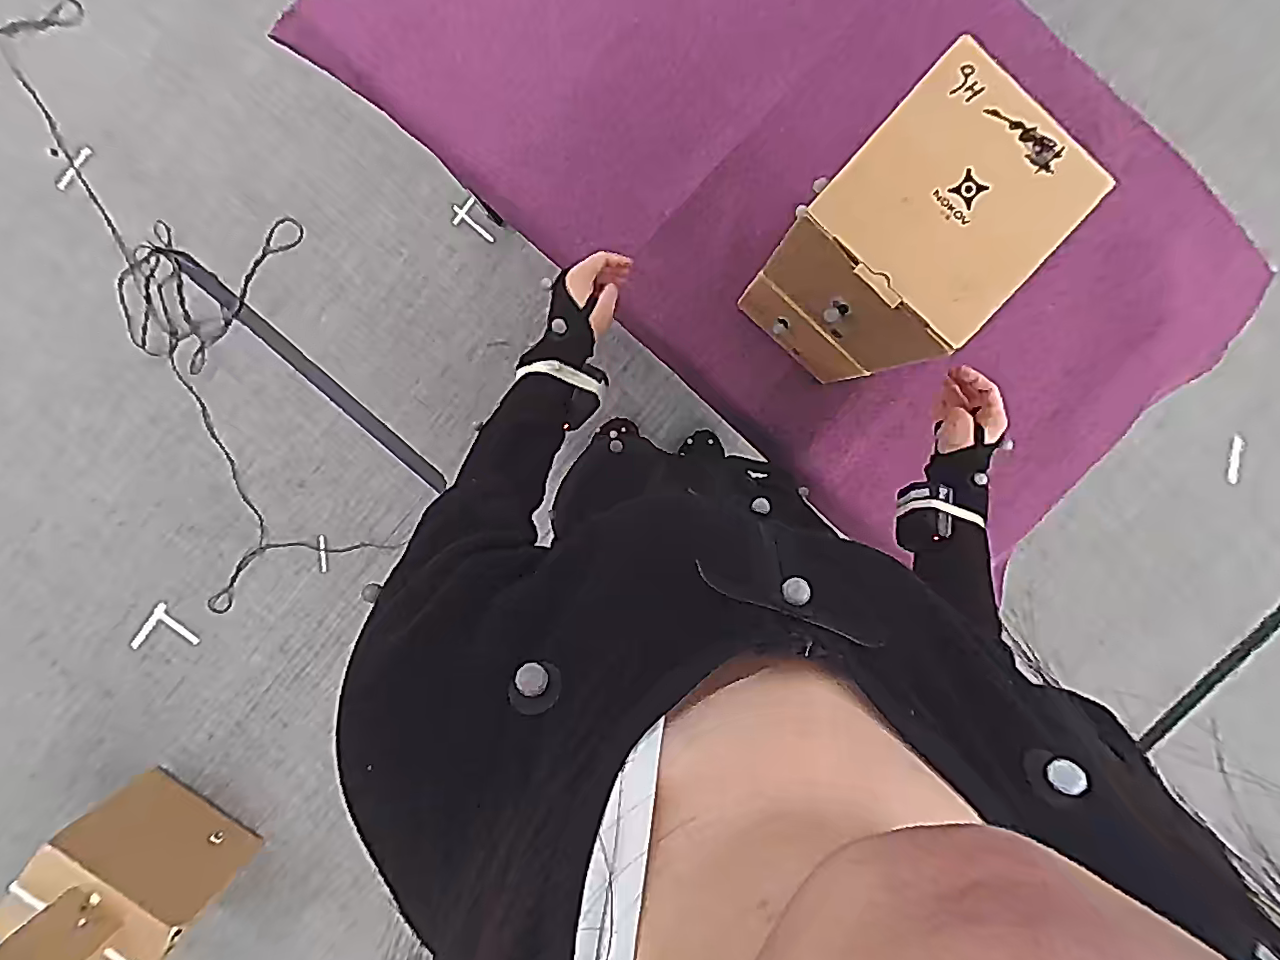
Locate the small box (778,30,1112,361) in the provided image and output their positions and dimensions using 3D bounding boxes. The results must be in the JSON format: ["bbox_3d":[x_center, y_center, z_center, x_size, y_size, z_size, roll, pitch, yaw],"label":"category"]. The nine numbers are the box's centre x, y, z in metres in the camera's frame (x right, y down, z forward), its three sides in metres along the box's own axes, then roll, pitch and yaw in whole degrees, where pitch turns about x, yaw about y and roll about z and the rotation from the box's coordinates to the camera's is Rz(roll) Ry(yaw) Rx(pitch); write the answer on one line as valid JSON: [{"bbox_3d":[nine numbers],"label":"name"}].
[{"bbox_3d":[0.247,-0.230,0.496,0.168,0.176,0.179,42,96,-3],"label":"small box"}]

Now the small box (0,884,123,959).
[{"bbox_3d":[-1.415,1.137,1.295,0.168,0.176,0.179,38,95,-3],"label":"small box"}]

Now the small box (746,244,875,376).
[{"bbox_3d":[0.248,-0.245,0.659,0.168,0.176,0.179,41,95,-3],"label":"small box"}]
